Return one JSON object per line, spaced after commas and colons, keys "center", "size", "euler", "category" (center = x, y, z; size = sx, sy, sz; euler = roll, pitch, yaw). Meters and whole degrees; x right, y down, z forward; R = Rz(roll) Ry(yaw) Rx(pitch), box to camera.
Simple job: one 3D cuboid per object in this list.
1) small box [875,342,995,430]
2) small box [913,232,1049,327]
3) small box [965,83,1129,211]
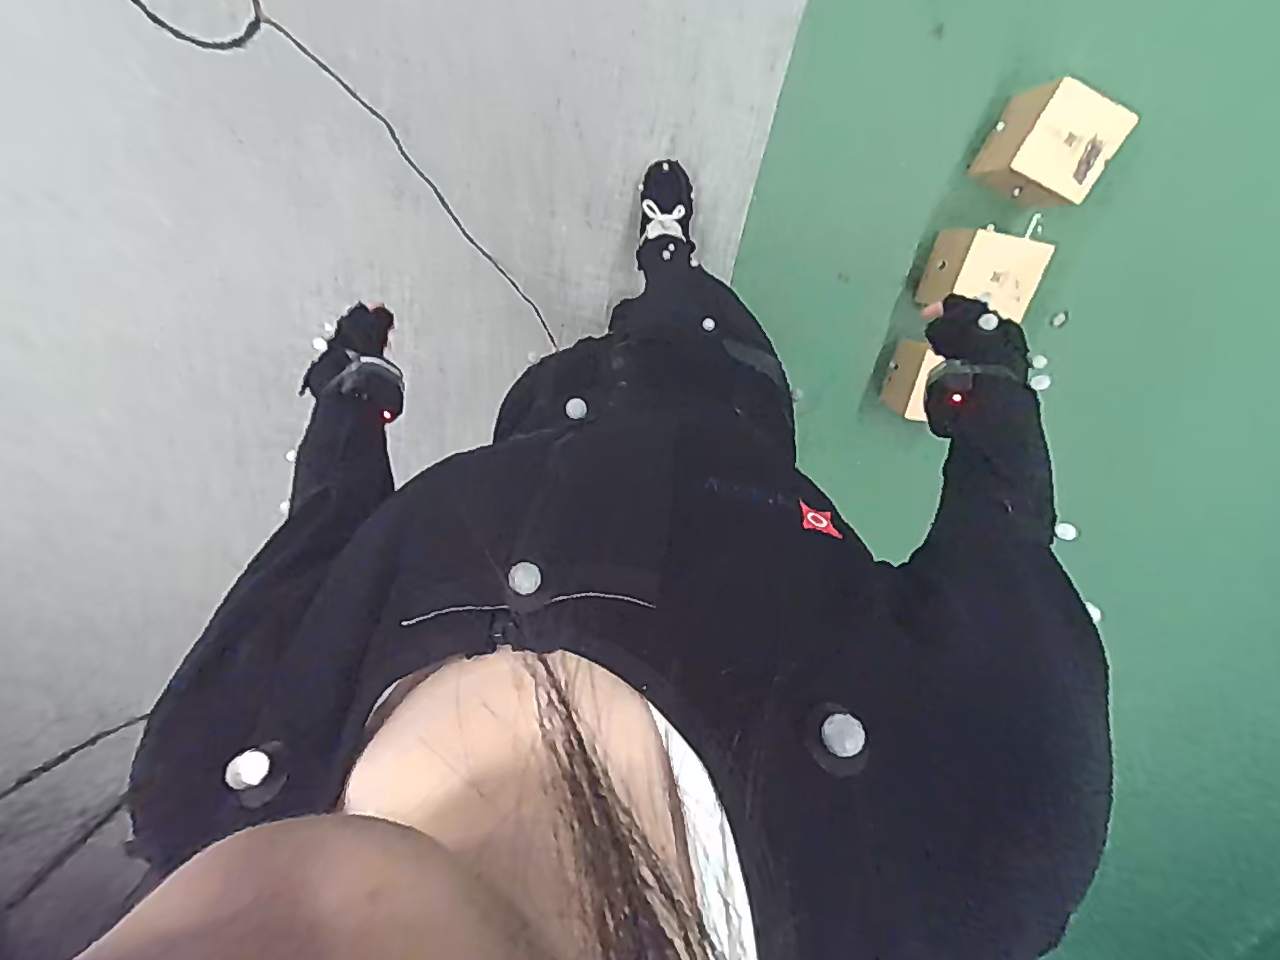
{"center": [0.719, -0.238, 1.338], "size": [0.179, 0.176, 0.168], "euler": [8, 114, -3], "category": "small box"}
{"center": [0.763, -0.459, 1.236], "size": [0.179, 0.176, 0.168], "euler": [11, 114, -4], "category": "small box"}
{"center": [0.839, -0.685, 1.135], "size": [0.179, 0.176, 0.168], "euler": [23, 112, -8], "category": "small box"}
